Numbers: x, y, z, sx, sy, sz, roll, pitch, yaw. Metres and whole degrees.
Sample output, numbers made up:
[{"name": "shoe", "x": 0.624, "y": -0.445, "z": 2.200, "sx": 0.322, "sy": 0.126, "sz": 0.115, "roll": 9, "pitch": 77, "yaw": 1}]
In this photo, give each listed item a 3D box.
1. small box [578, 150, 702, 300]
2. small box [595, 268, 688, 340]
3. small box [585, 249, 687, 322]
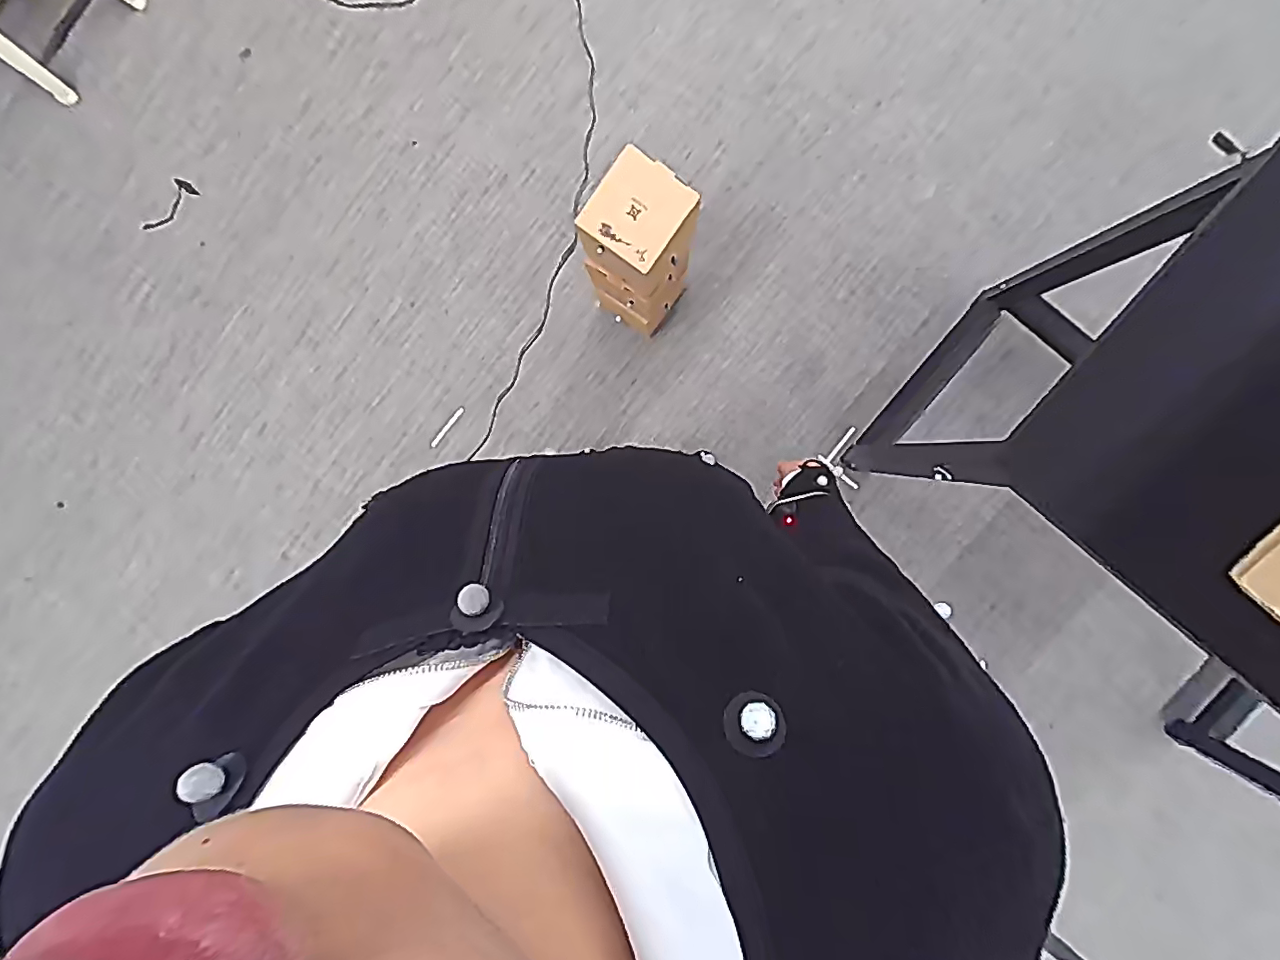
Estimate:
[{"name": "small box", "x": -0.001, "y": -0.490, "z": 1.067, "sx": 0.168, "sy": 0.176, "sz": 0.179, "roll": 36, "pitch": 93, "yaw": 1}, {"name": "small box", "x": 0.005, "y": -0.489, "z": 1.394, "sx": 0.168, "sy": 0.176, "sz": 0.179, "roll": 36, "pitch": 94, "yaw": 1}, {"name": "small box", "x": -0.001, "y": -0.489, "z": 1.232, "sx": 0.168, "sy": 0.176, "sz": 0.179, "roll": 33, "pitch": 92, "yaw": 0}]
